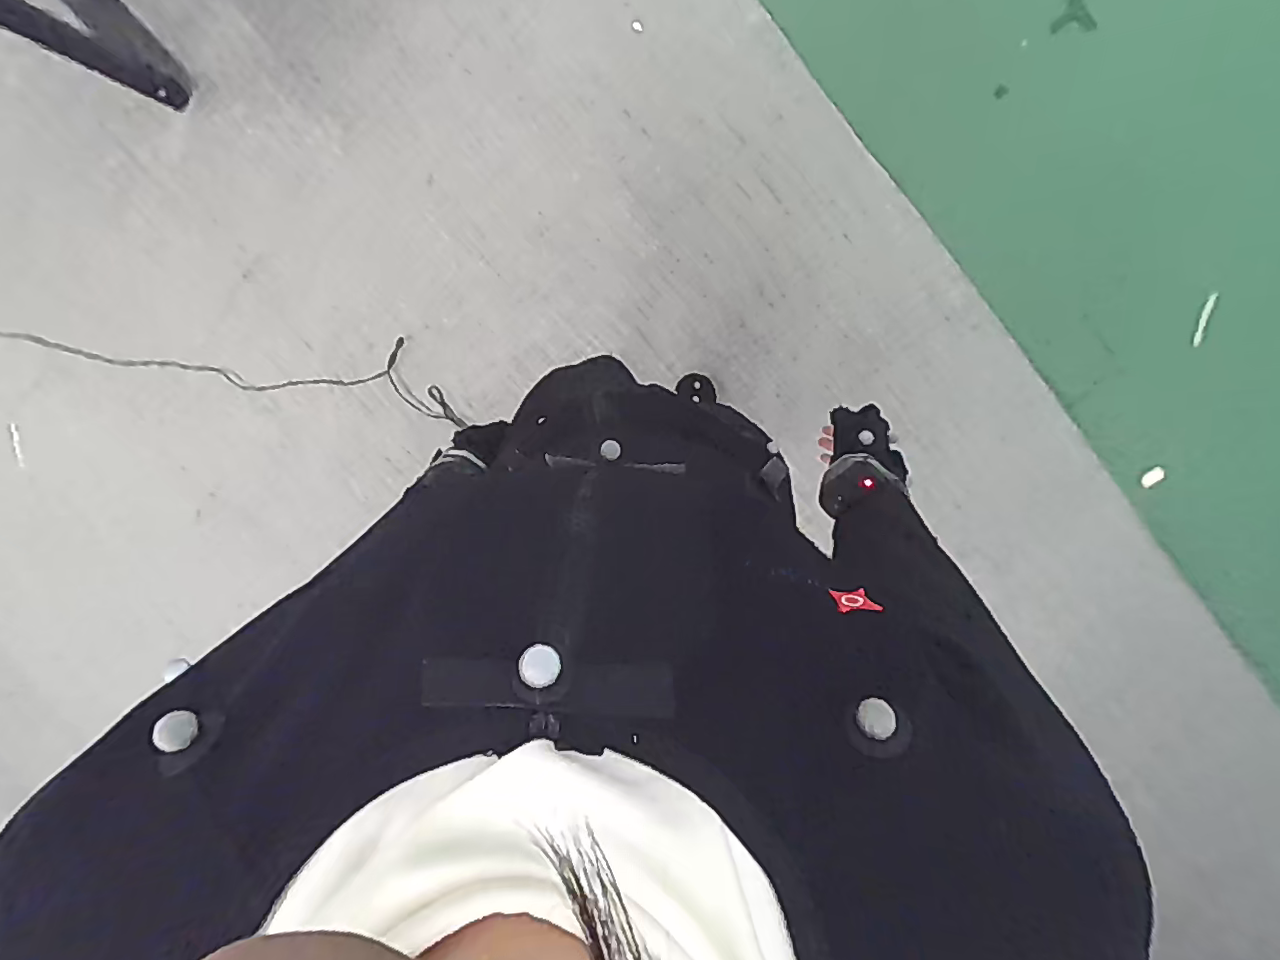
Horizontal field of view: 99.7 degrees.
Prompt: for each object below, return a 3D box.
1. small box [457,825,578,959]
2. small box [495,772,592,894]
[{"bbox_3d":[-0.236,0.827,1.084,0.168,0.176,0.179,-14,98,8],"label":"small box"},{"bbox_3d":[-0.214,0.810,1.246,0.168,0.176,0.179,-7,99,6],"label":"small box"}]
